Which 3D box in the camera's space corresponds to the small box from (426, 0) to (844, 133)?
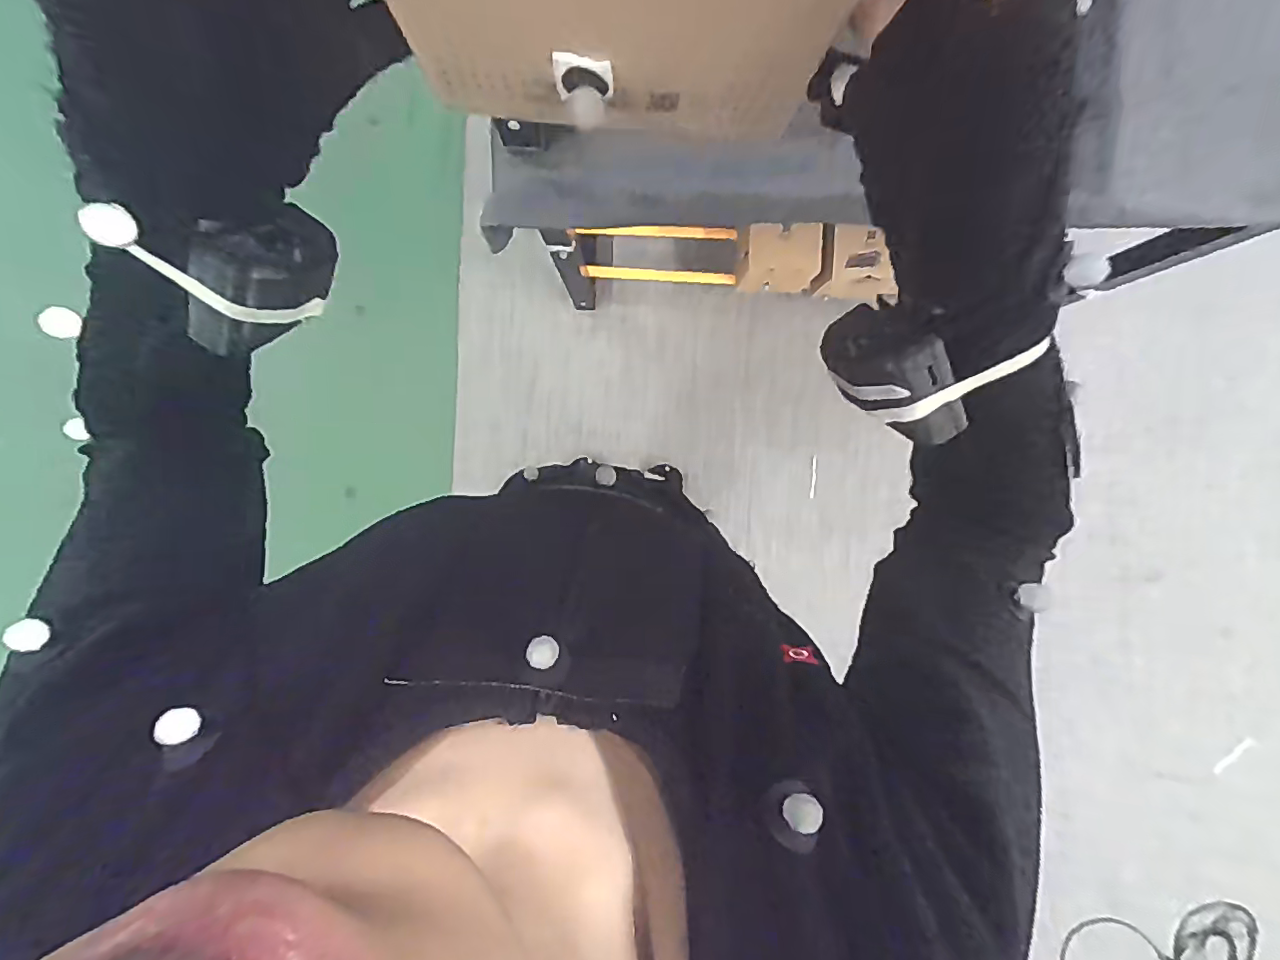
[{"bbox_3d":[-0.002,-0.260,0.185,0.168,0.176,0.179,2,96,-3],"label":"small box"}]
